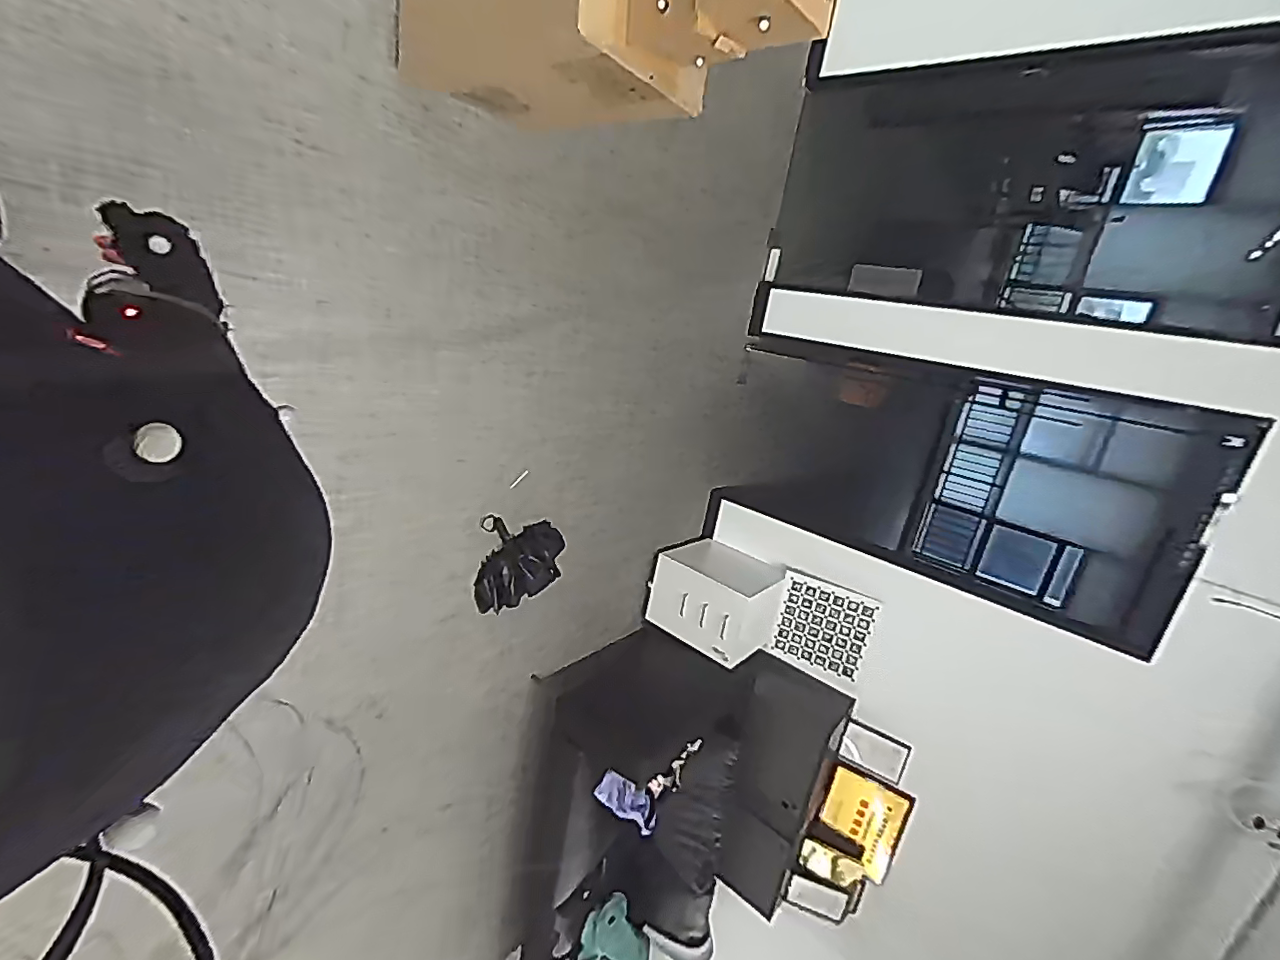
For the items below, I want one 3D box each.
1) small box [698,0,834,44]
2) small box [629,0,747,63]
[{"bbox_3d":[0.216,-0.856,0.892,0.179,0.176,0.168,-17,122,-46],"label":"small box"},{"bbox_3d":[0.093,-0.897,0.992,0.168,0.176,0.179,-22,124,-45],"label":"small box"}]
